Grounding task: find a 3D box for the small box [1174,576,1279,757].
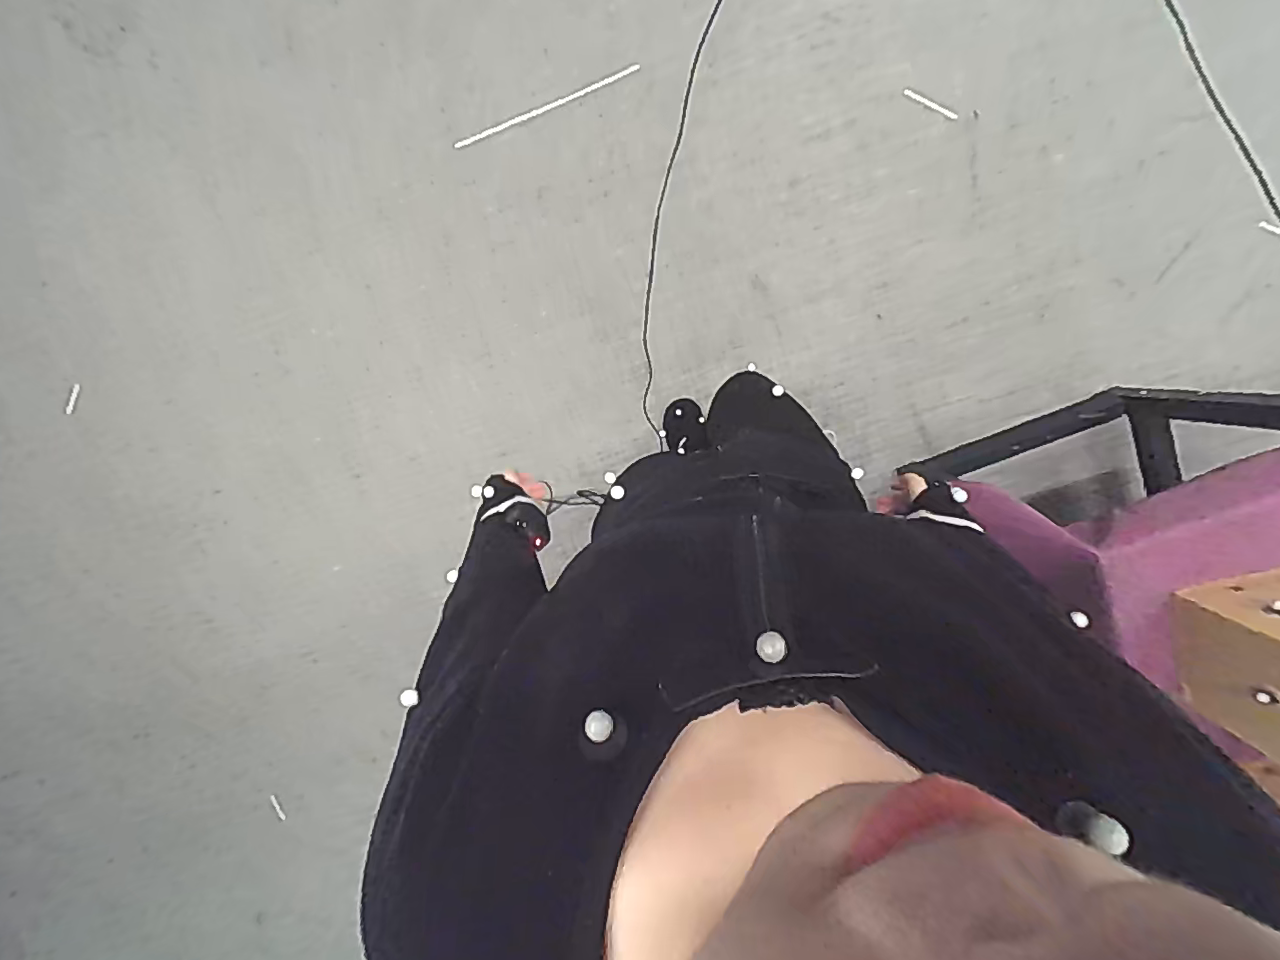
[{"bbox_3d":[0.823,0.231,0.672,0.168,0.176,0.179,-14,101,6],"label":"small box"}]
